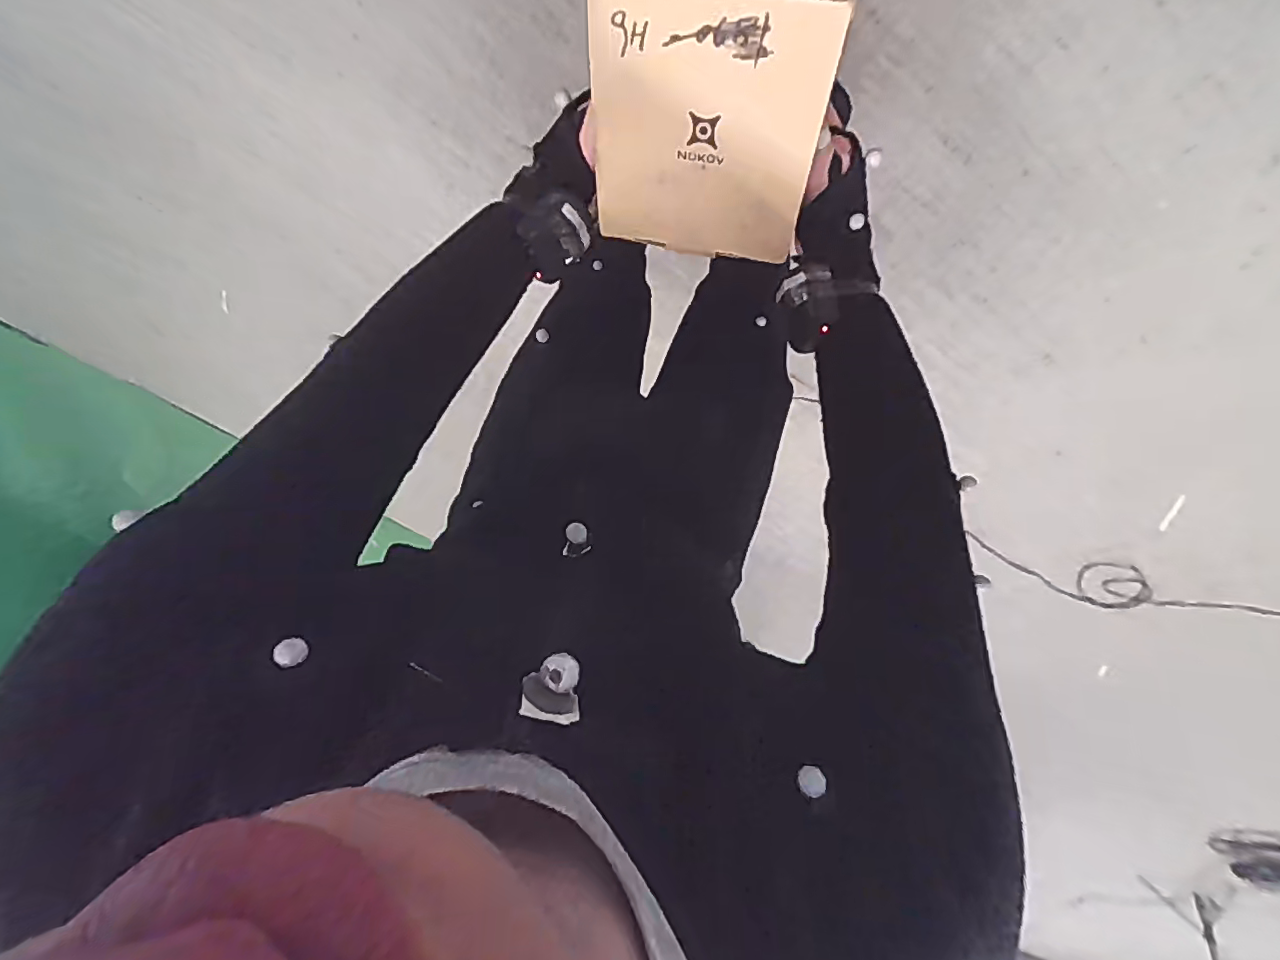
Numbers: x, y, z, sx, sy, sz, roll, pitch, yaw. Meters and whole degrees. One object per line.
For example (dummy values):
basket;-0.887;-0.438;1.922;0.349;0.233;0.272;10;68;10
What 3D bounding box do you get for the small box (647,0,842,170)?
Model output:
small box;0.105;-0.441;0.532;0.168;0.176;0.179;10;145;9
